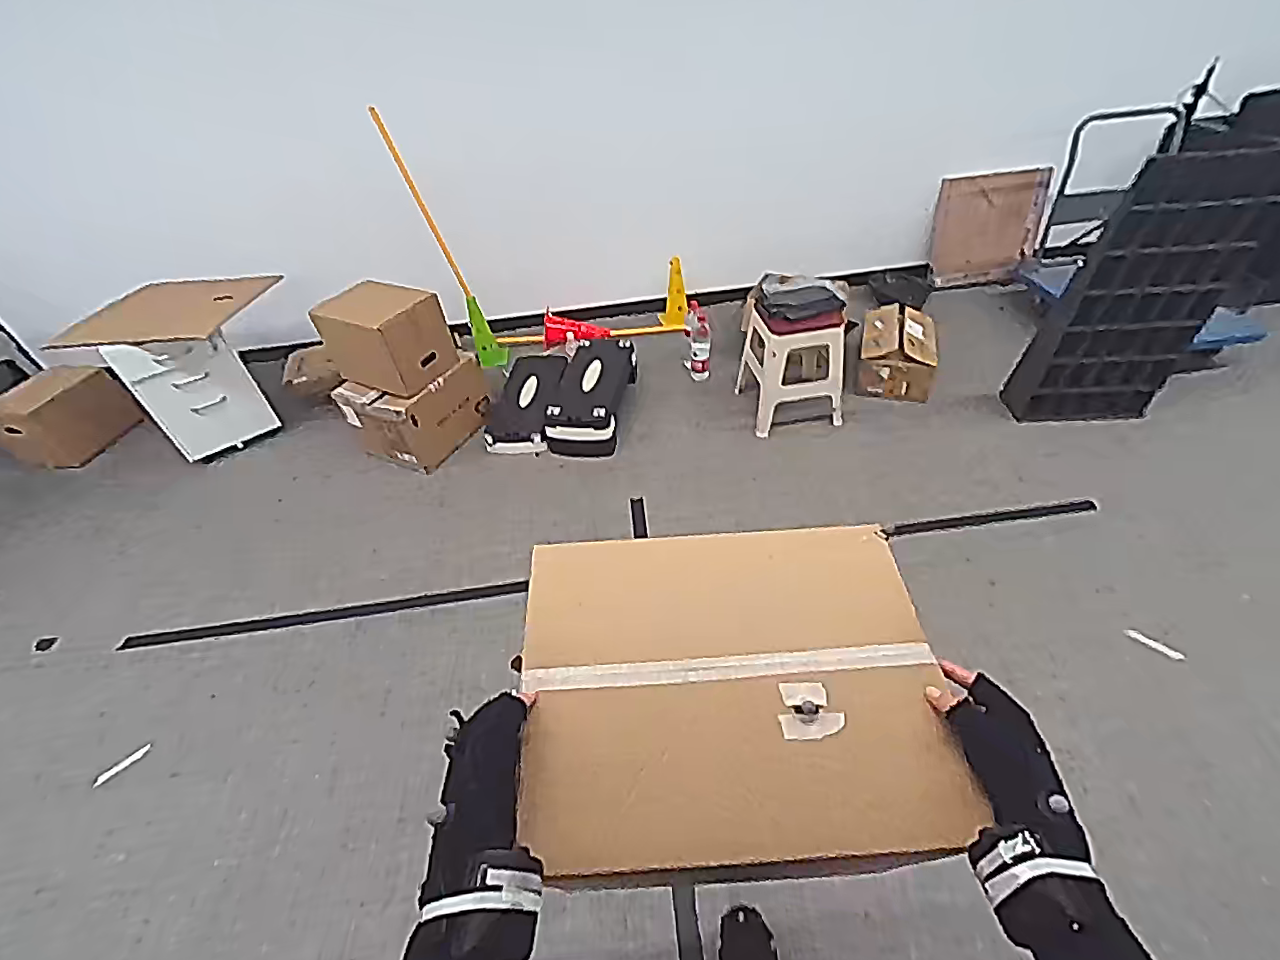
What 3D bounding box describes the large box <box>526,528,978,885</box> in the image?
[{"bbox_3d":[0.090,0.285,0.670,0.408,0.320,0.320,-4,52,-1],"label":"large box"}]
